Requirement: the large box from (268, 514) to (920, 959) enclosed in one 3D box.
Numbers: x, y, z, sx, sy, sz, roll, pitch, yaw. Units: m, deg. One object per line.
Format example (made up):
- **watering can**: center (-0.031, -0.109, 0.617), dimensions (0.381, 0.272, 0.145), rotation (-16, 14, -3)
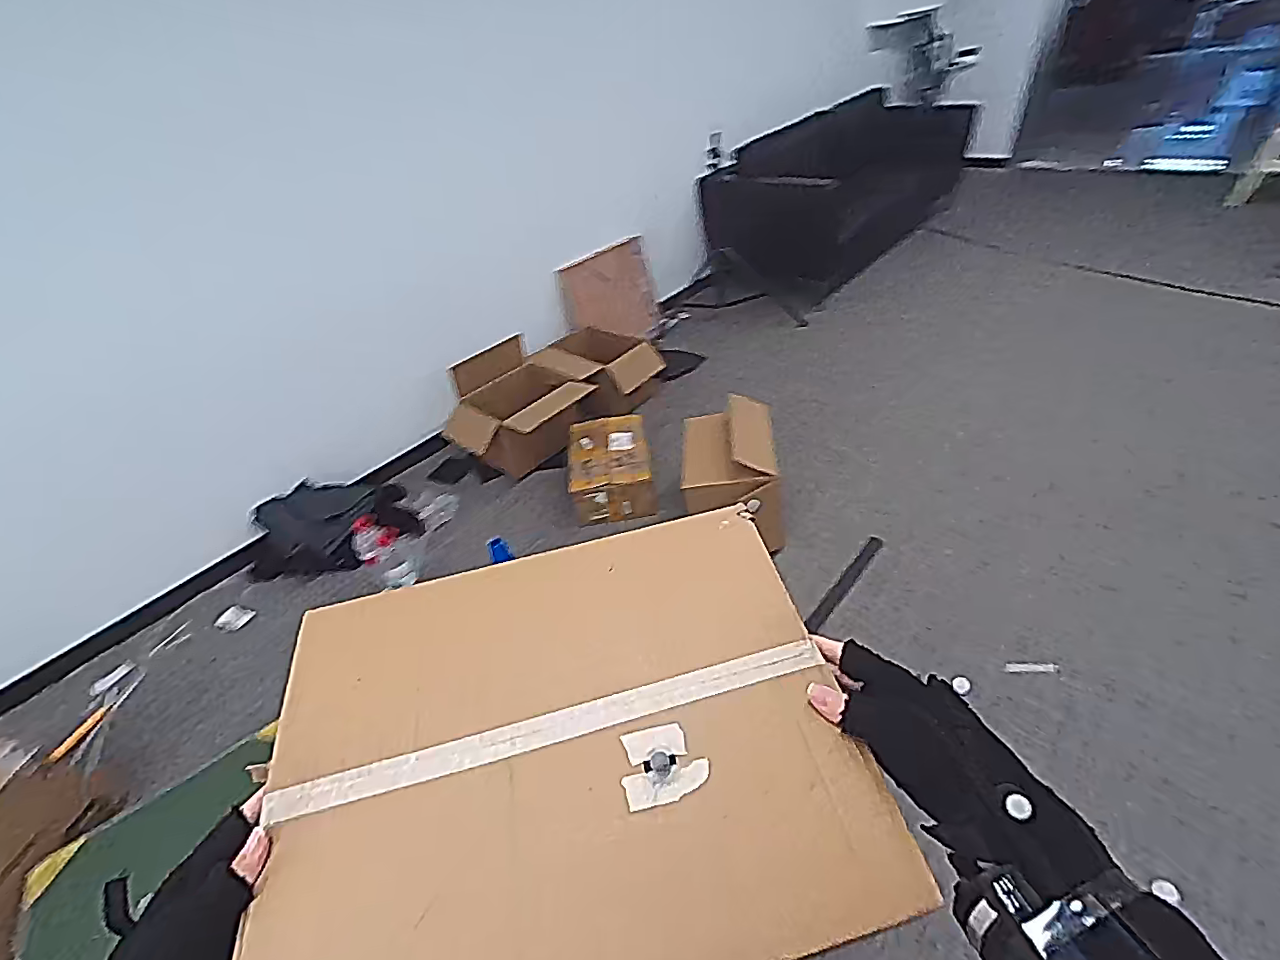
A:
- **large box**: center (-0.043, 0.284, 0.515), dimensions (0.408, 0.320, 0.320), rotation (-12, 48, -6)
